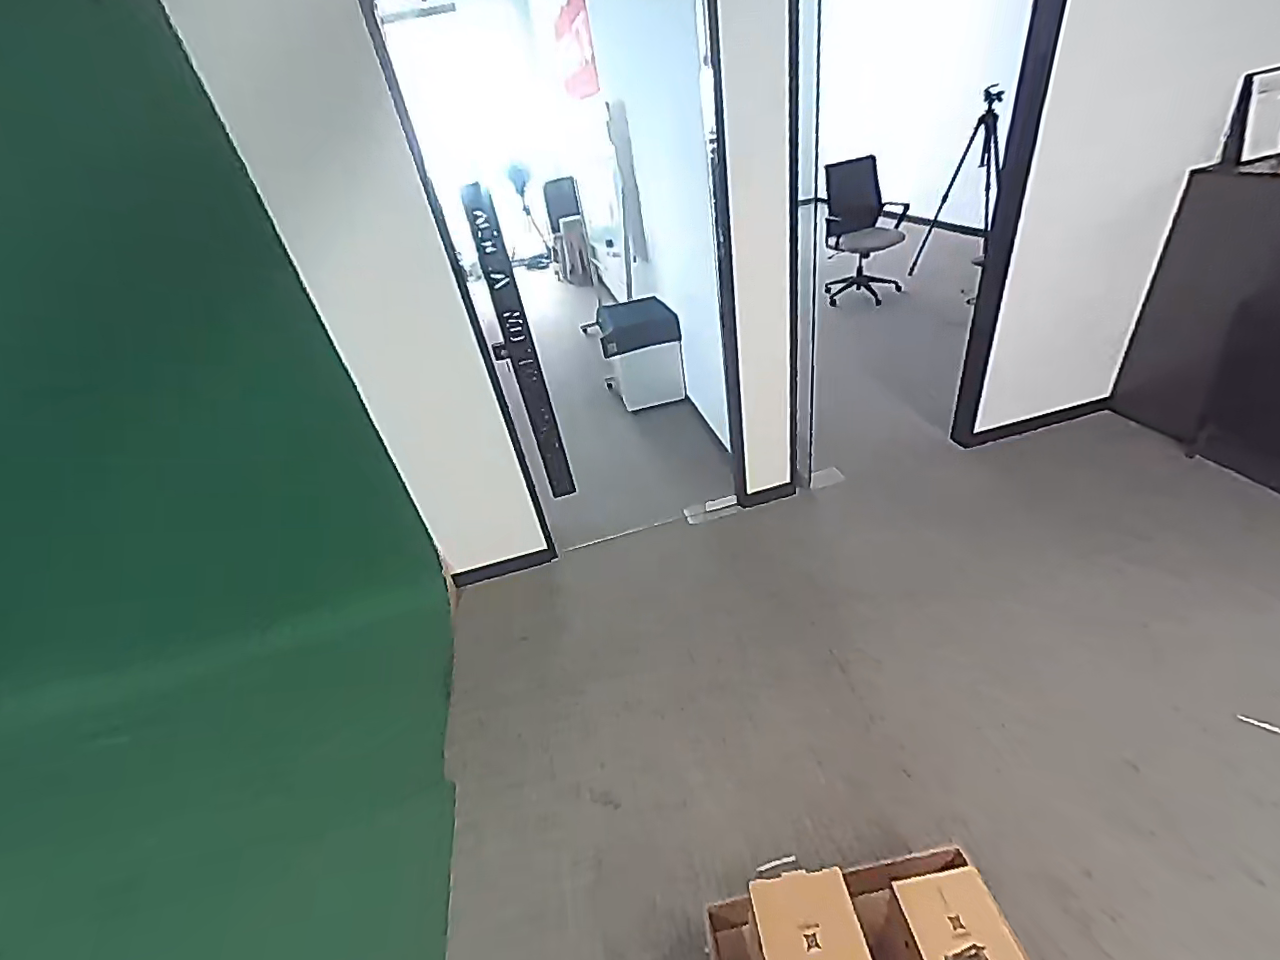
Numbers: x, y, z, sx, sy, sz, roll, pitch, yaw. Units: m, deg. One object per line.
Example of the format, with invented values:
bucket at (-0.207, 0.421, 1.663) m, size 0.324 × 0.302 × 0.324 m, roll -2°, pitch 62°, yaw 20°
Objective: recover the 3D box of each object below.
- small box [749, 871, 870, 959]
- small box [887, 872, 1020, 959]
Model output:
small box at (0.283, 0.803, 0.908) m, size 0.168 × 0.176 × 0.179 m, roll -9°, pitch 32°, yaw 0°
small box at (0.583, 0.878, 1.009) m, size 0.168 × 0.176 × 0.179 m, roll -12°, pitch 32°, yaw 1°
